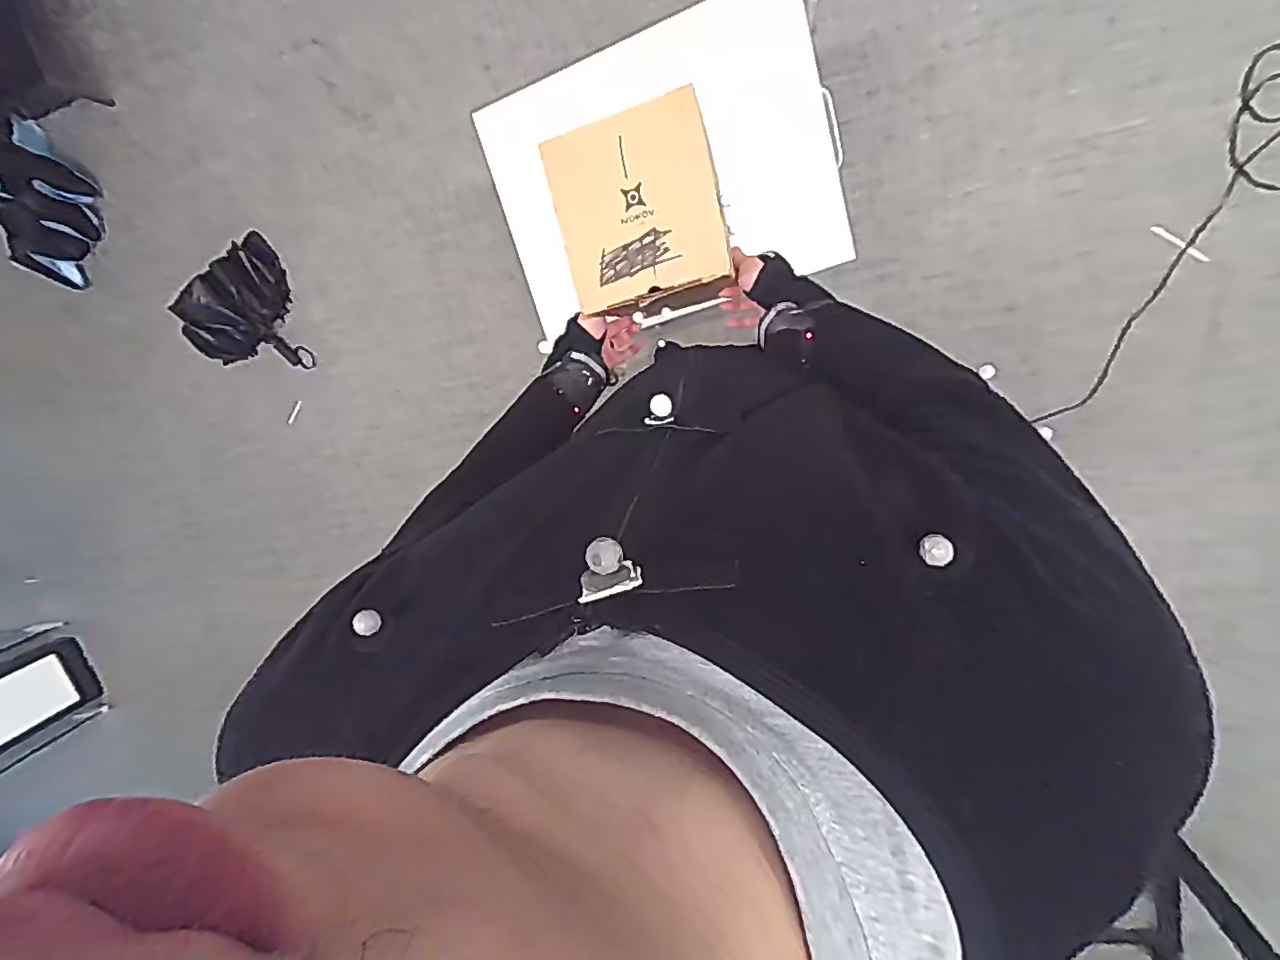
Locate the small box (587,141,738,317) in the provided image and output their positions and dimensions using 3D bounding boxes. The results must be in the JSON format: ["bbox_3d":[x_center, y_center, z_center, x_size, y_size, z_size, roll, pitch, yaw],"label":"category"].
[{"bbox_3d":[0.043,-0.342,0.775,0.168,0.176,0.179,-12,103,15],"label":"small box"}]
